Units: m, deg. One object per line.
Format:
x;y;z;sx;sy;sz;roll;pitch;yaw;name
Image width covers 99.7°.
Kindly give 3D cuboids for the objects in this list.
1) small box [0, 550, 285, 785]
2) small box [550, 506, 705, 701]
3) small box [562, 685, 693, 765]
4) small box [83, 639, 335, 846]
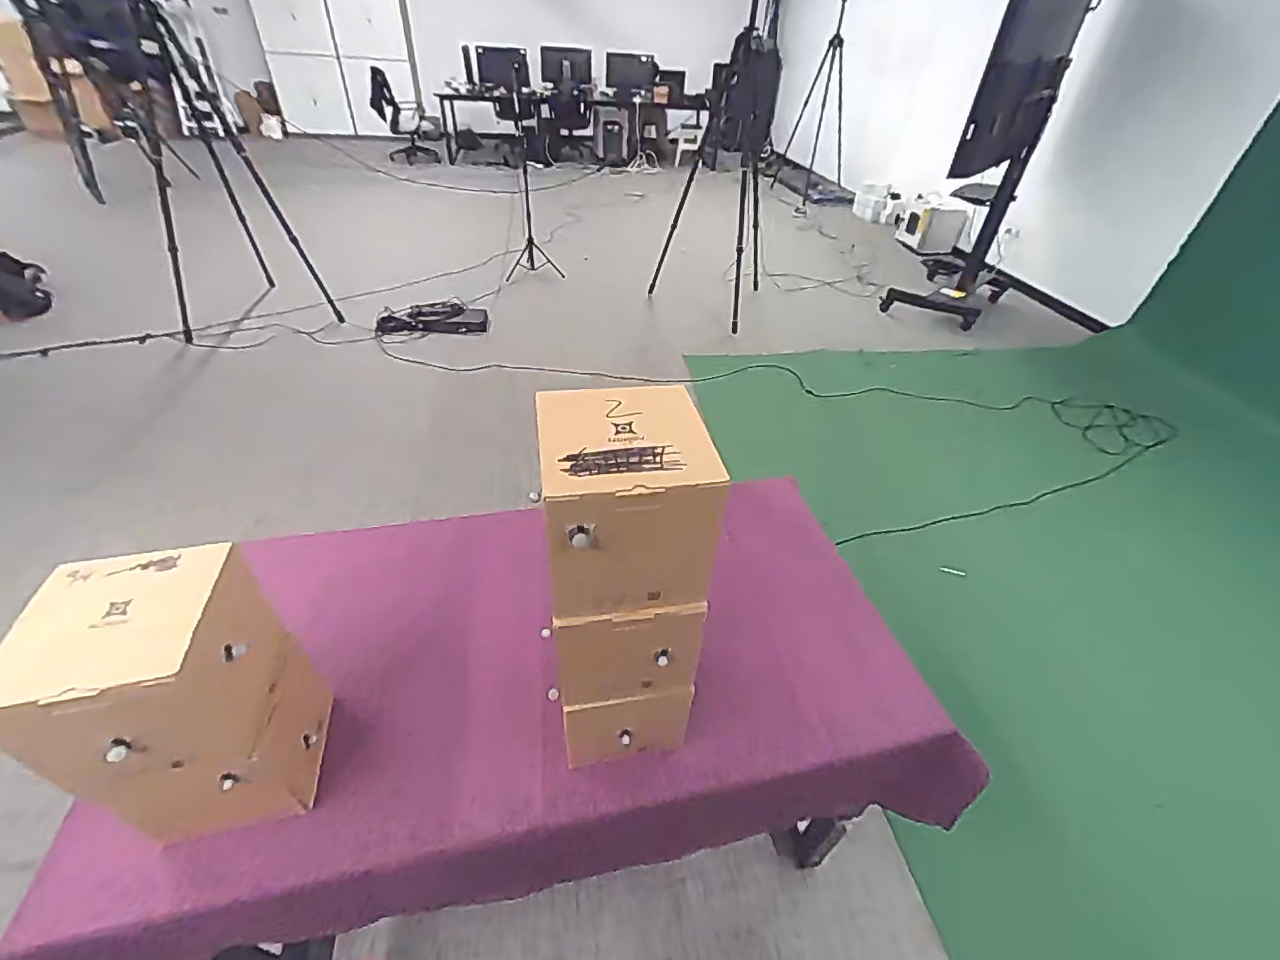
-0.520;0.205;0.589;0.168;0.176;0.179;-7;40;-13;small box
-0.023;0.156;0.677;0.168;0.176;0.179;-4;39;-8;small box
-0.028;0.285;0.777;0.168;0.176;0.179;-5;40;-10;small box
-0.522;0.334;0.691;0.179;0.176;0.168;-7;40;-13;small box
